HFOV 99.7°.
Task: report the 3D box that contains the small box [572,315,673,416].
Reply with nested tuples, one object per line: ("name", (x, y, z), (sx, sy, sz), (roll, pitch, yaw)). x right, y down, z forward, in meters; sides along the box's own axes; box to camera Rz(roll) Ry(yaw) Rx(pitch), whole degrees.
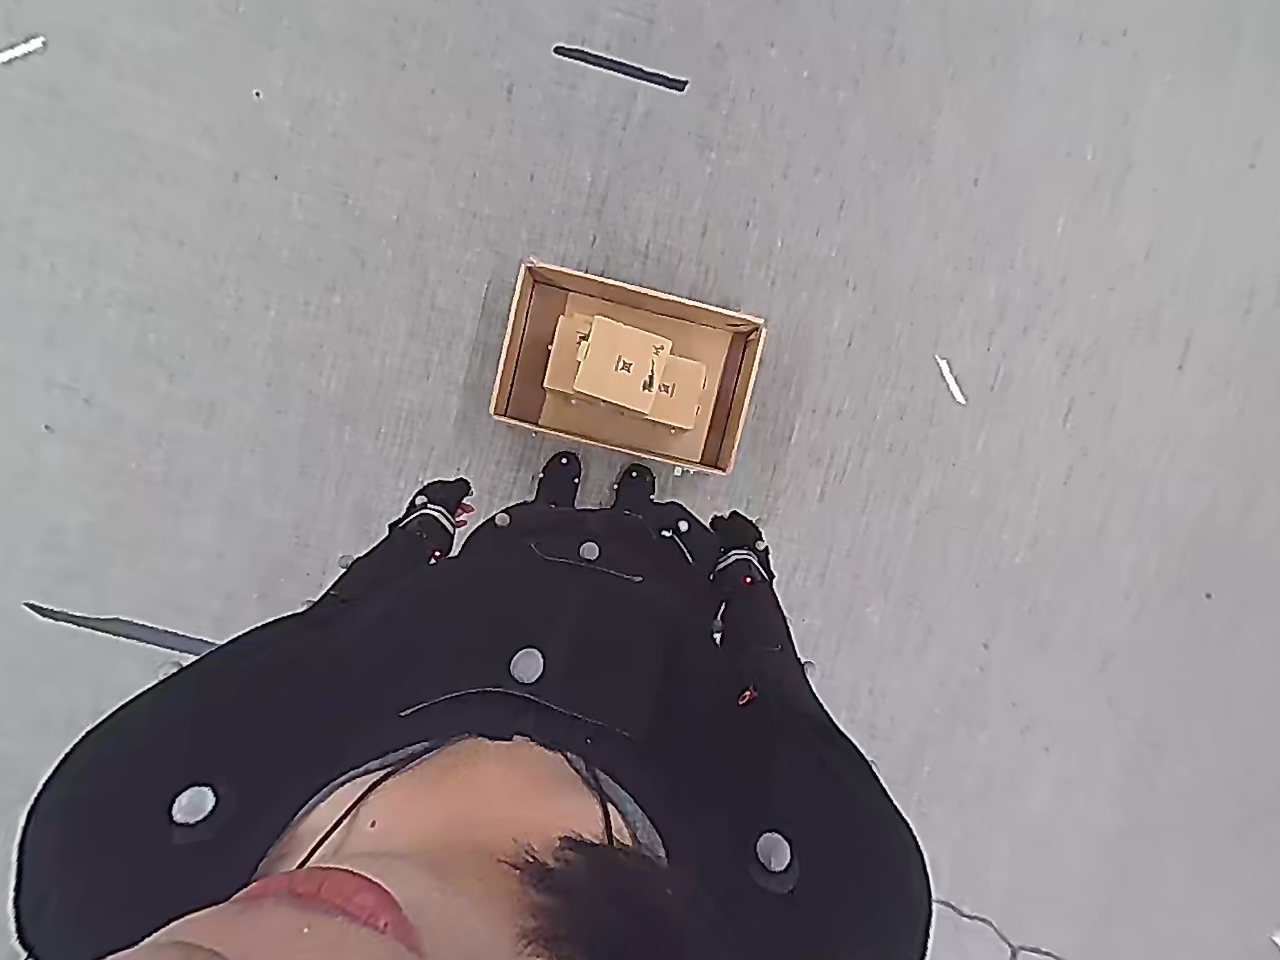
("small box", (-0.041, -0.246, 1.212), (0.179, 0.176, 0.168), (18, 92, -4))

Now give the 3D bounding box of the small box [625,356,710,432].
("small box", (0.065, -0.221, 1.383), (0.179, 0.176, 0.168), (14, 92, -2))
